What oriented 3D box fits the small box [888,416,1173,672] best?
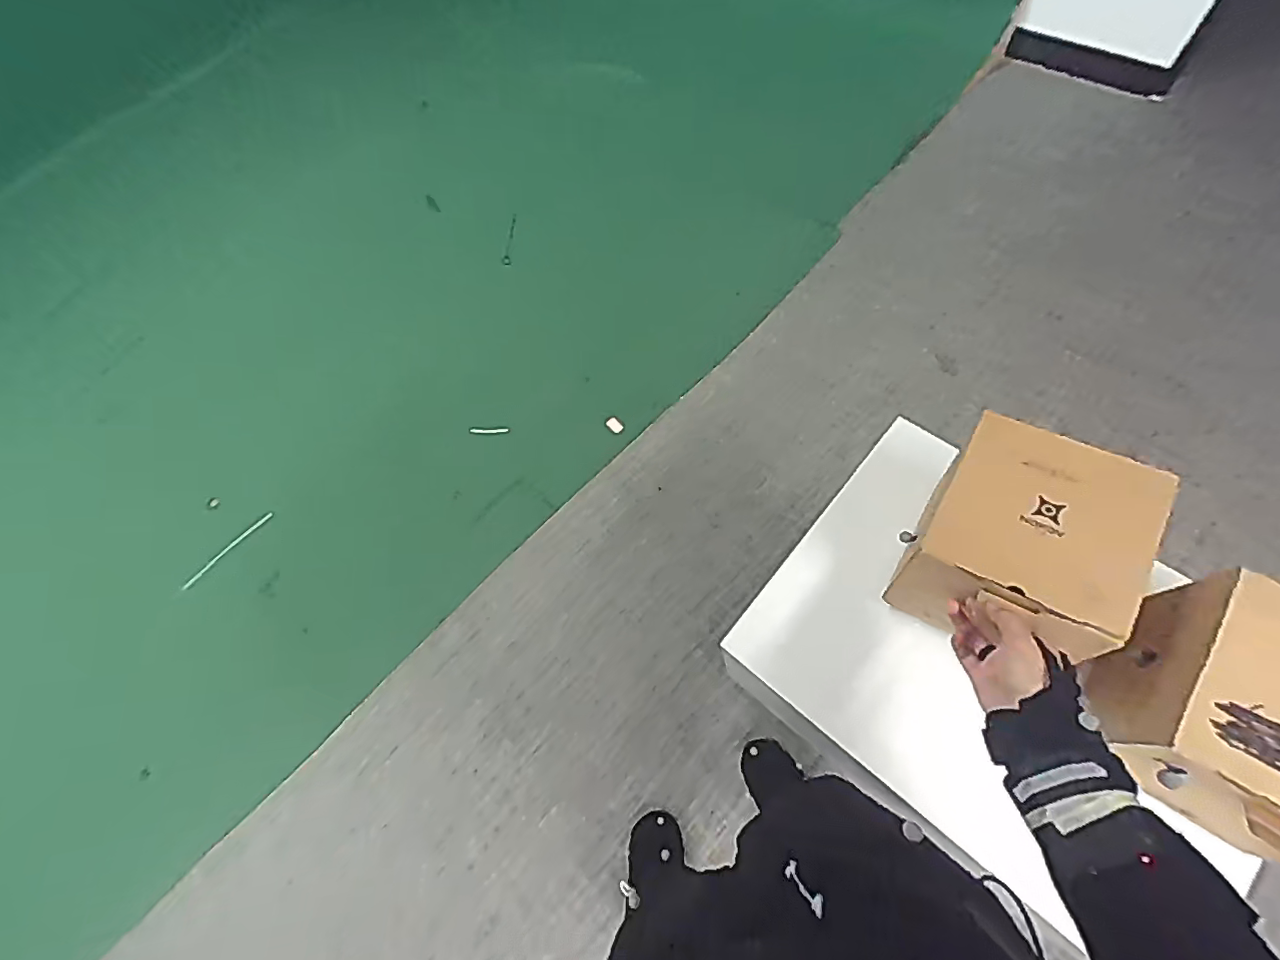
[{"bbox_3d":[0.378,0.073,0.556,0.168,0.176,0.179,27,69,22],"label":"small box"}]
